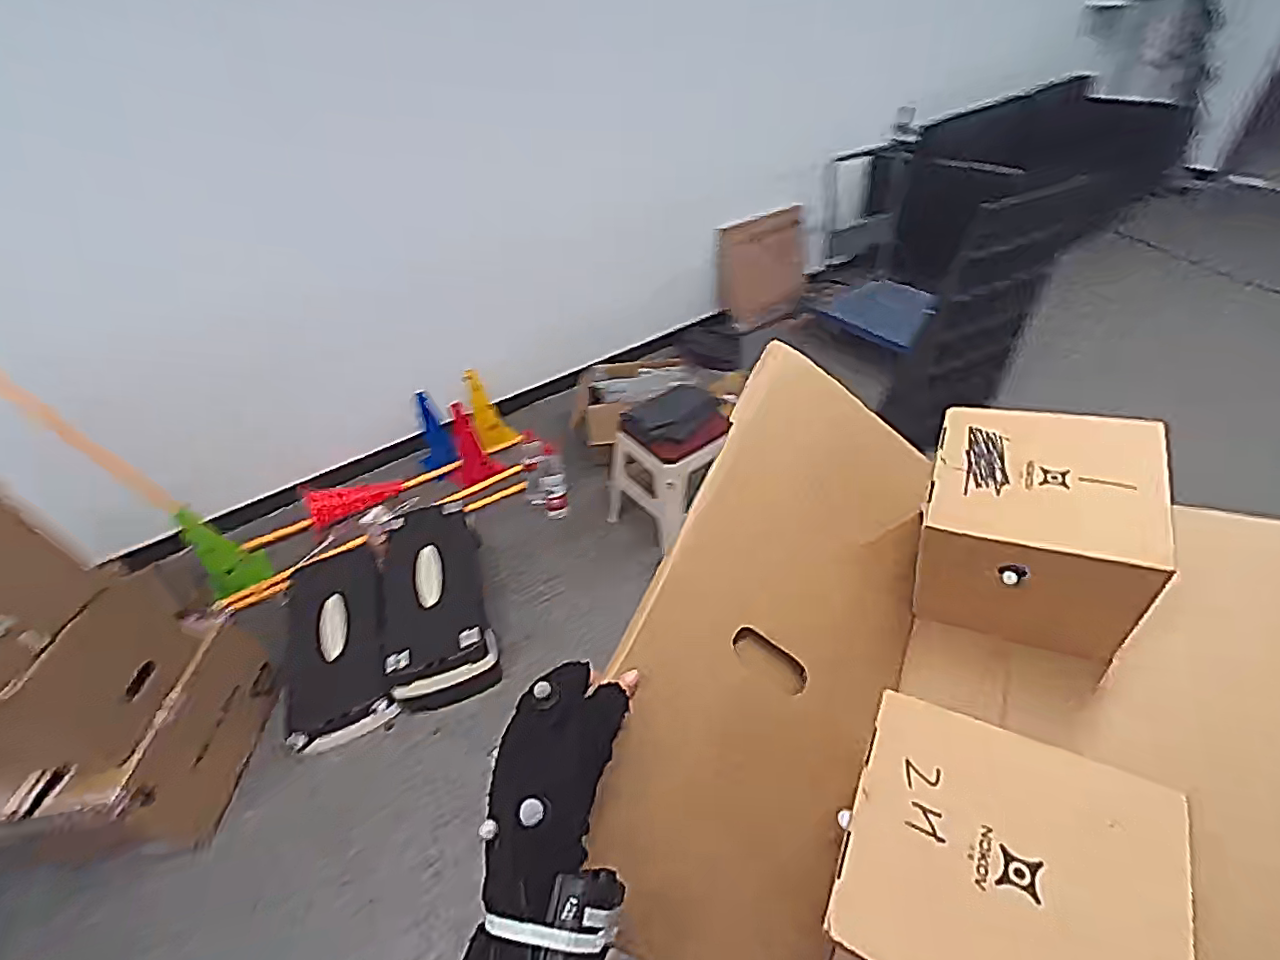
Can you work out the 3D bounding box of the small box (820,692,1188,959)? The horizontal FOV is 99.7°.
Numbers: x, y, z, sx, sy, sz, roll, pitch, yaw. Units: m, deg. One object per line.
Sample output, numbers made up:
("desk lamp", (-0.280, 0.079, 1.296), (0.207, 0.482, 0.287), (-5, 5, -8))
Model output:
("small box", (0.250, 0.292, 0.396), (0.179, 0.176, 0.168), (12, 55, 33))
